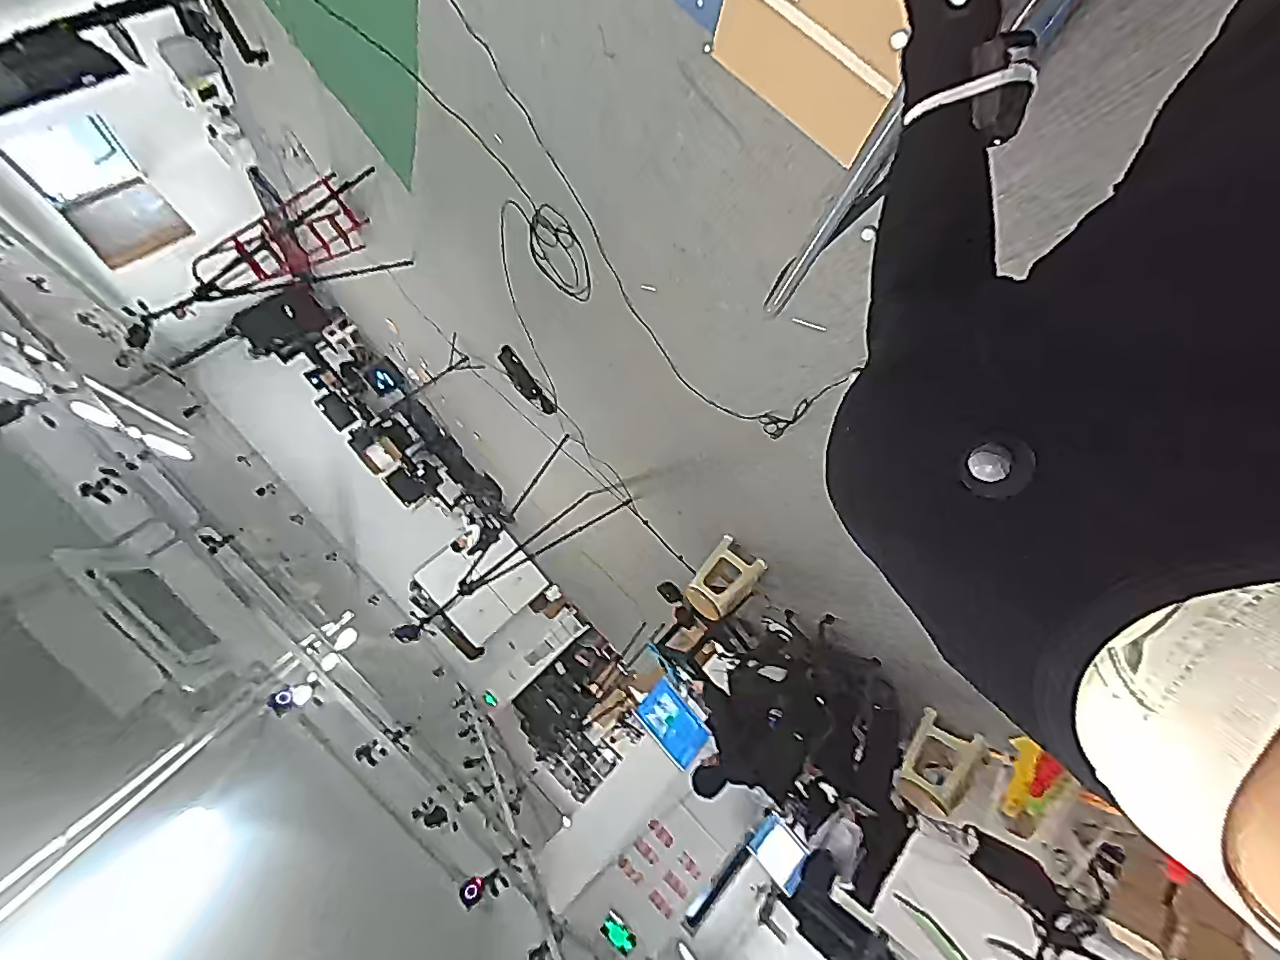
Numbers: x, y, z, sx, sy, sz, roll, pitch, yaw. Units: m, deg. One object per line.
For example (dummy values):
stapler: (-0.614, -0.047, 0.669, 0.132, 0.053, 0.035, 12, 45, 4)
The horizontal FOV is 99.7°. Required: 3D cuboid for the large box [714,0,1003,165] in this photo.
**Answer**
large box: (0.424, -0.912, 1.034, 0.408, 0.320, 0.320, 46, 157, 8)
